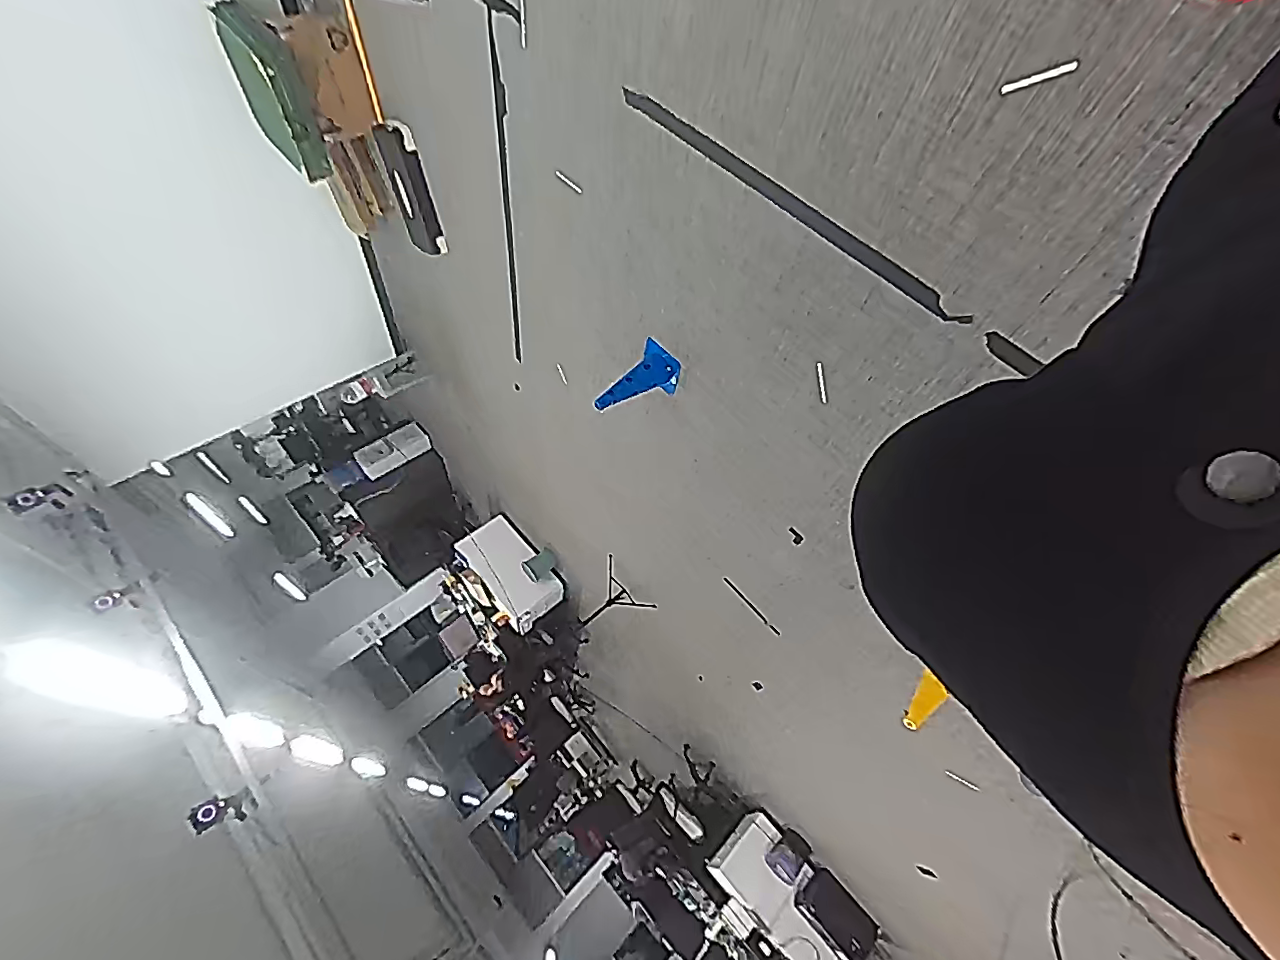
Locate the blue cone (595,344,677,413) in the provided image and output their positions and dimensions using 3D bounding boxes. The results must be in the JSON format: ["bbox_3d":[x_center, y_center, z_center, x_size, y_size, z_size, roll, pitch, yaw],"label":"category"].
[{"bbox_3d":[-0.034,-0.384,2.227,0.193,0.380,0.192,45,153,18],"label":"blue cone"}]
